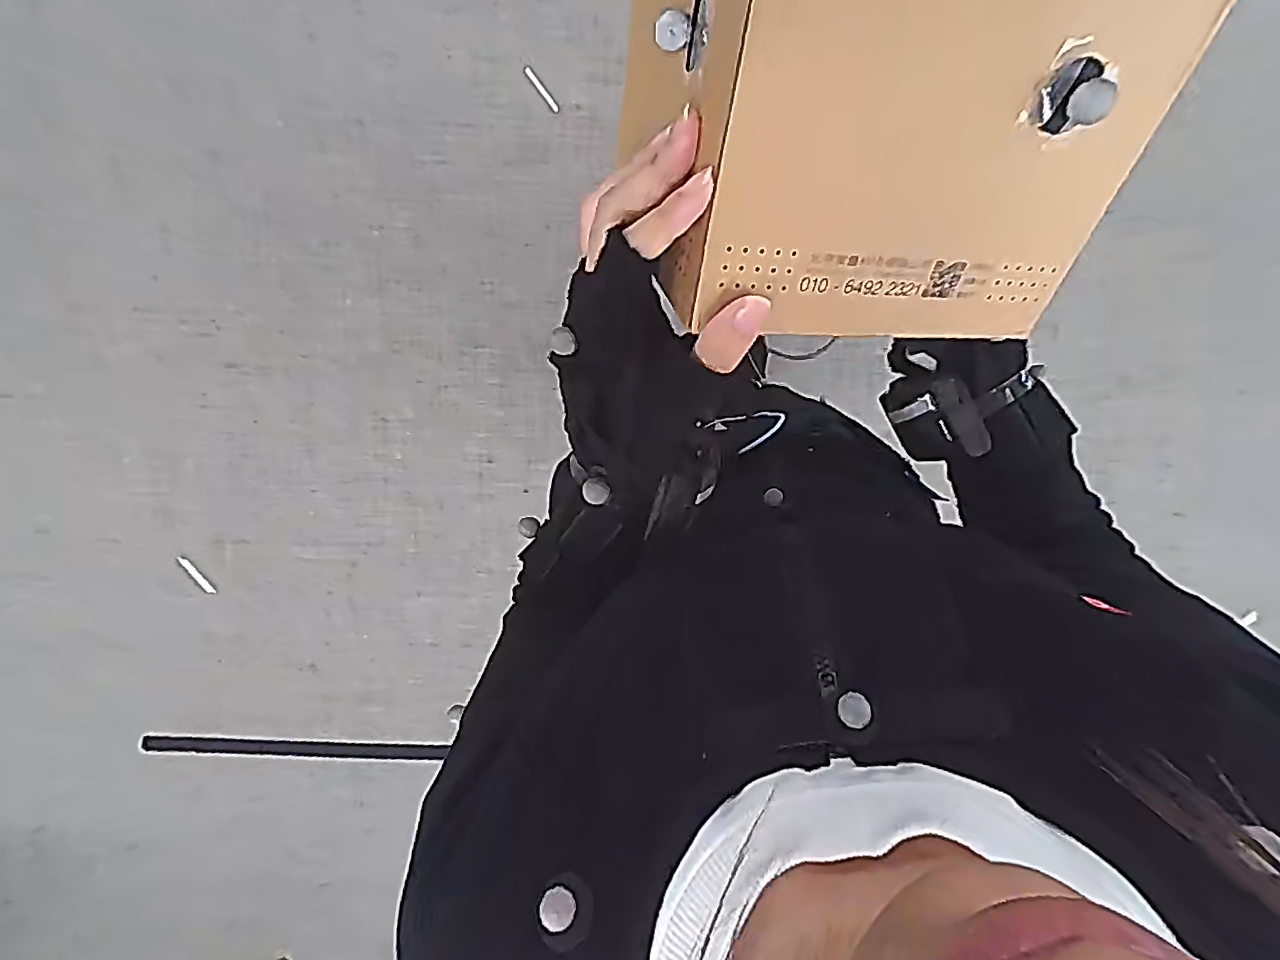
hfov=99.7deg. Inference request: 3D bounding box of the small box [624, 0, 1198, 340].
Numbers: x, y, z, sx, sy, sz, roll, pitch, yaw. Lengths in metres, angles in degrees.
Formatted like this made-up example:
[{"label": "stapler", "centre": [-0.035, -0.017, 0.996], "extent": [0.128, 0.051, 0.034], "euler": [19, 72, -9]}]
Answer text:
[{"label": "small box", "centre": [0.093, -0.176, 0.246], "extent": [0.168, 0.179, 0.176], "euler": [-2, 131, -14]}]
